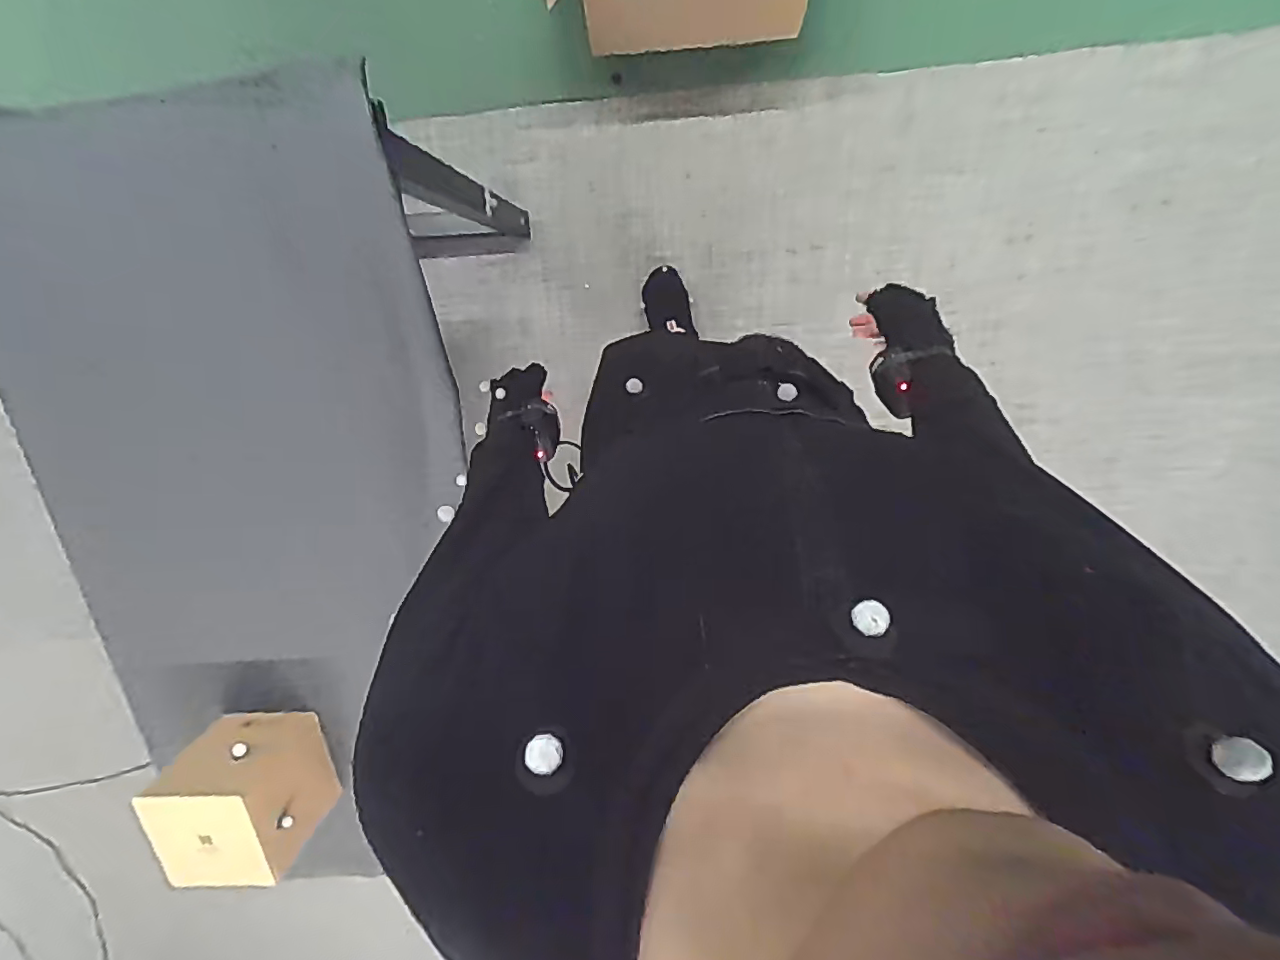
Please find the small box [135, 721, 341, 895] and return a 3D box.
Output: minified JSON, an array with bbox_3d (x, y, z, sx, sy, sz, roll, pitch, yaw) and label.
[{"bbox_3d":[-0.604,0.497,0.840,0.168,0.176,0.179,-4,108,4],"label":"small box"}]
